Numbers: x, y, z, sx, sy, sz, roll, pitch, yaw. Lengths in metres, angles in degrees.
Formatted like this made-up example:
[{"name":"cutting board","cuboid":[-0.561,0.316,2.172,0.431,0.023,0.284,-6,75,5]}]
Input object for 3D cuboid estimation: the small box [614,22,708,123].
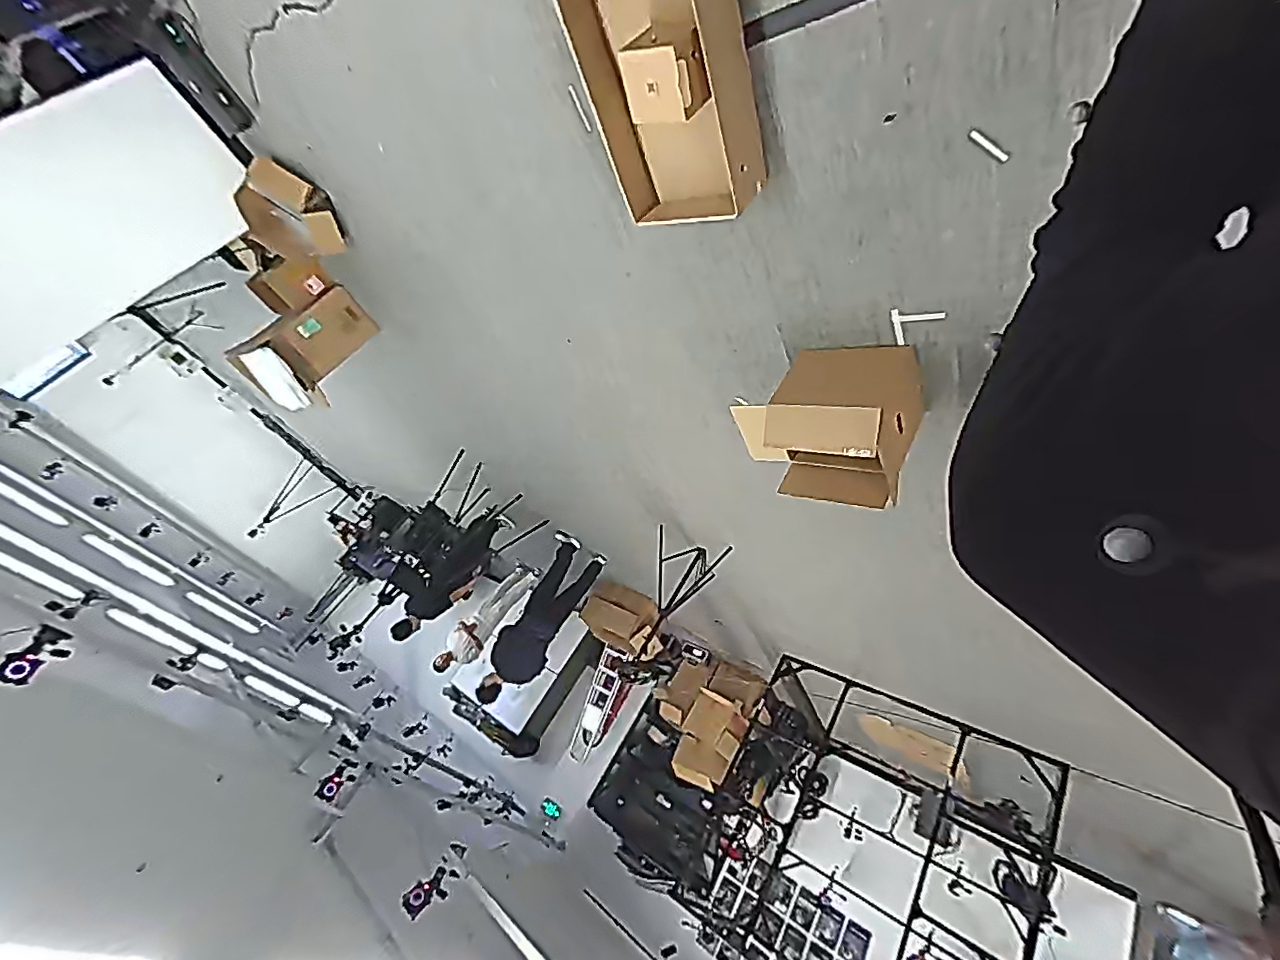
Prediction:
[{"name":"small box","cuboid":[0.065,-1.057,1.405,0.179,0.176,0.168,20,151,29]}]
